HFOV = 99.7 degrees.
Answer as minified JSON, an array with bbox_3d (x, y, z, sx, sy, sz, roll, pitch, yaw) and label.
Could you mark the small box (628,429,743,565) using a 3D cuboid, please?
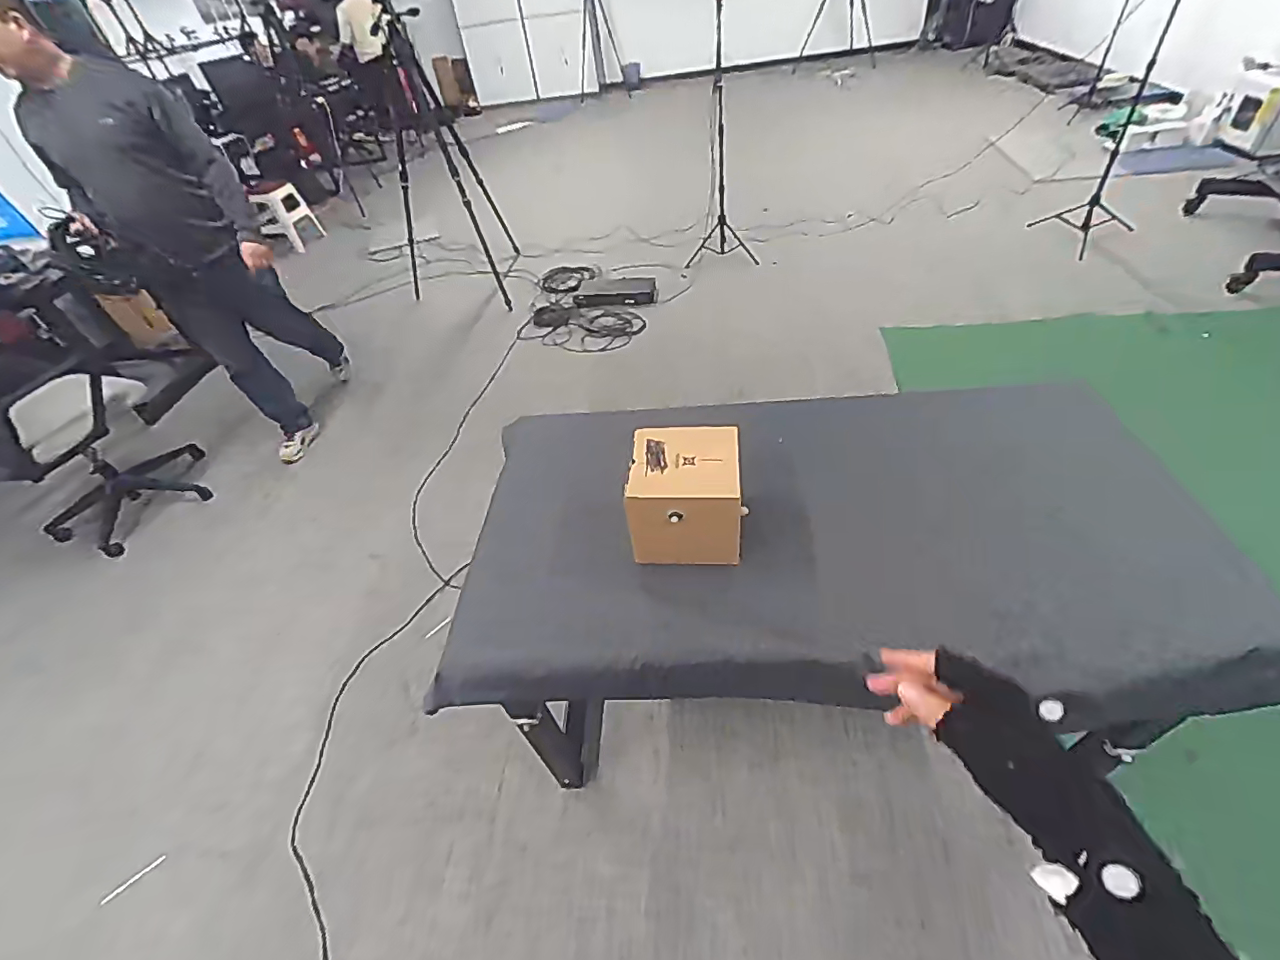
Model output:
[{"bbox_3d":[0.084,0.031,0.920,0.179,0.176,0.168,0,45,9],"label":"small box"}]
